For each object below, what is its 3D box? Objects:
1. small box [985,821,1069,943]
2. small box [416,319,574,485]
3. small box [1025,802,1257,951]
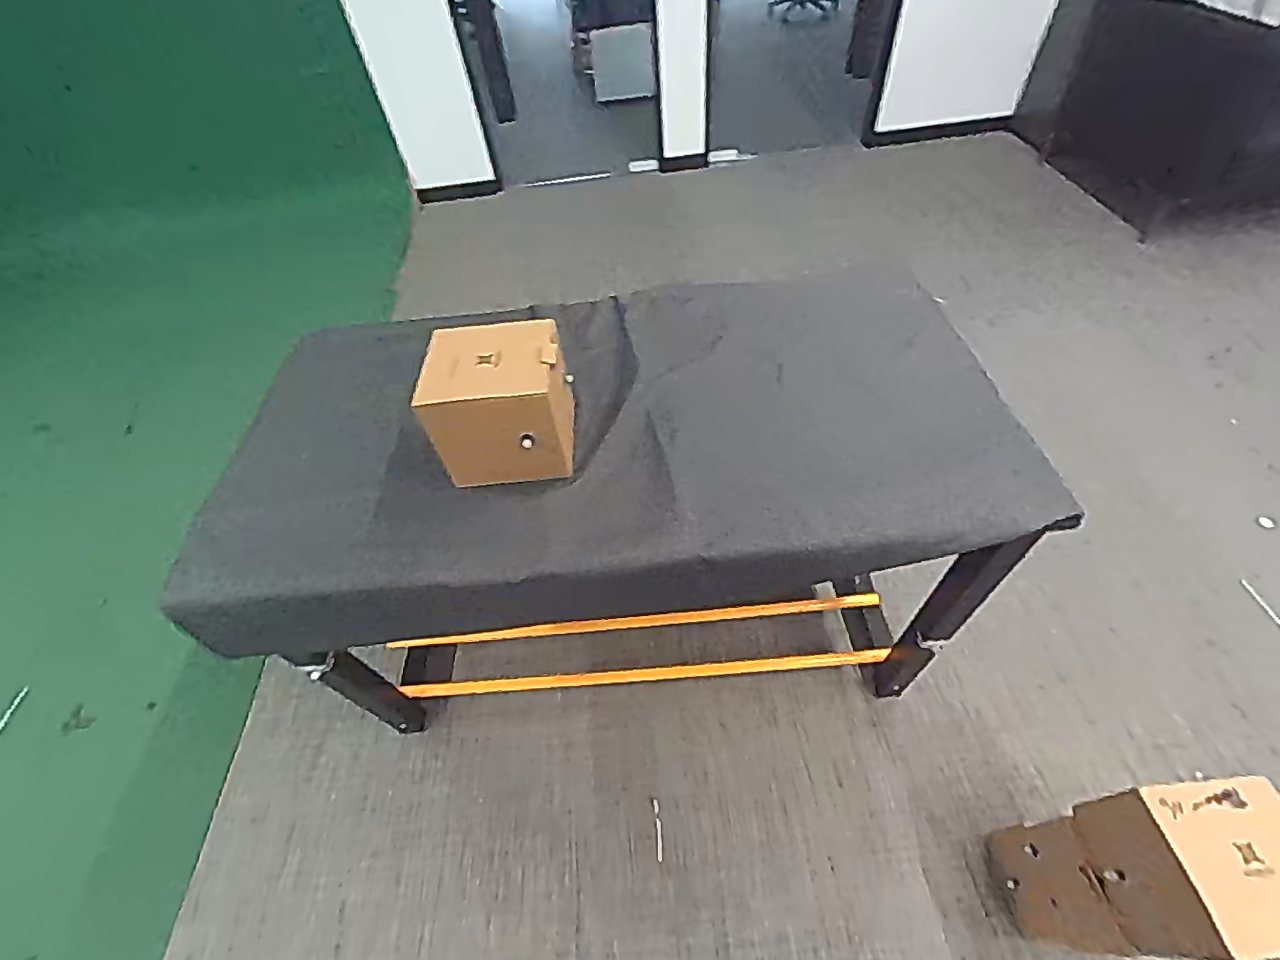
[{"bbox_3d":[0.765,0.711,0.962,0.179,0.176,0.168,-4,50,1],"label":"small box"},{"bbox_3d":[-0.195,-0.111,0.792,0.179,0.176,0.168,-6,49,2],"label":"small box"},{"bbox_3d":[0.740,0.612,0.834,0.179,0.176,0.168,-6,51,0],"label":"small box"}]
